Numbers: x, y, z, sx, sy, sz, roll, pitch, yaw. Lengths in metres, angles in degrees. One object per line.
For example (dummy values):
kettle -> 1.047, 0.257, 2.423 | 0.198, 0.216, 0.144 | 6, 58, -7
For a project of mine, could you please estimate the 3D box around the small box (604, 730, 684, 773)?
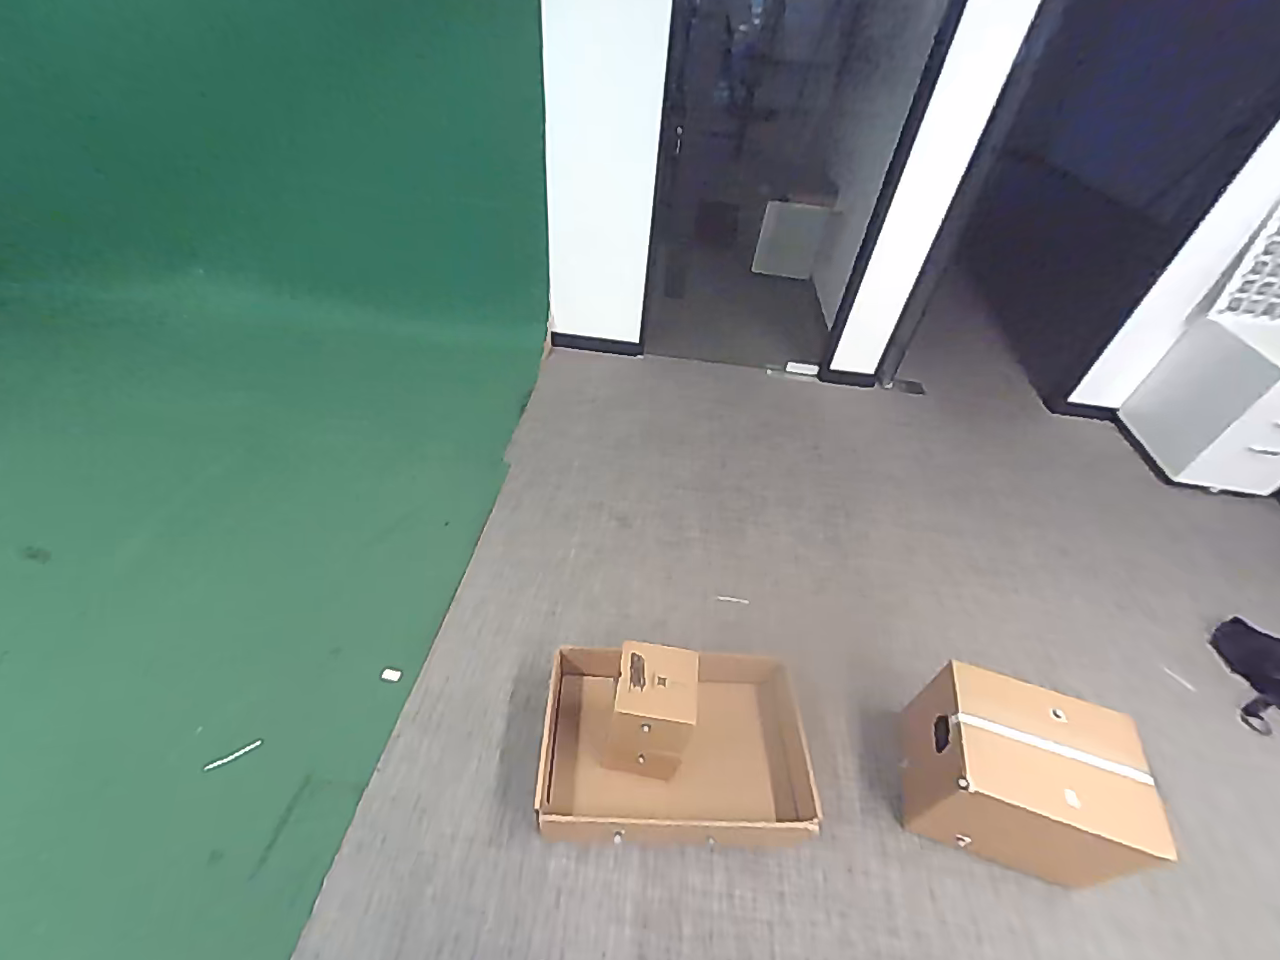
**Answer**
small box -> 0.012, 0.601, 1.334 | 0.179, 0.176, 0.168 | 11, 44, 0

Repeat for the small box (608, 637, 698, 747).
small box -> 0.028, 0.482, 1.221 | 0.179, 0.176, 0.168 | 10, 44, -1
